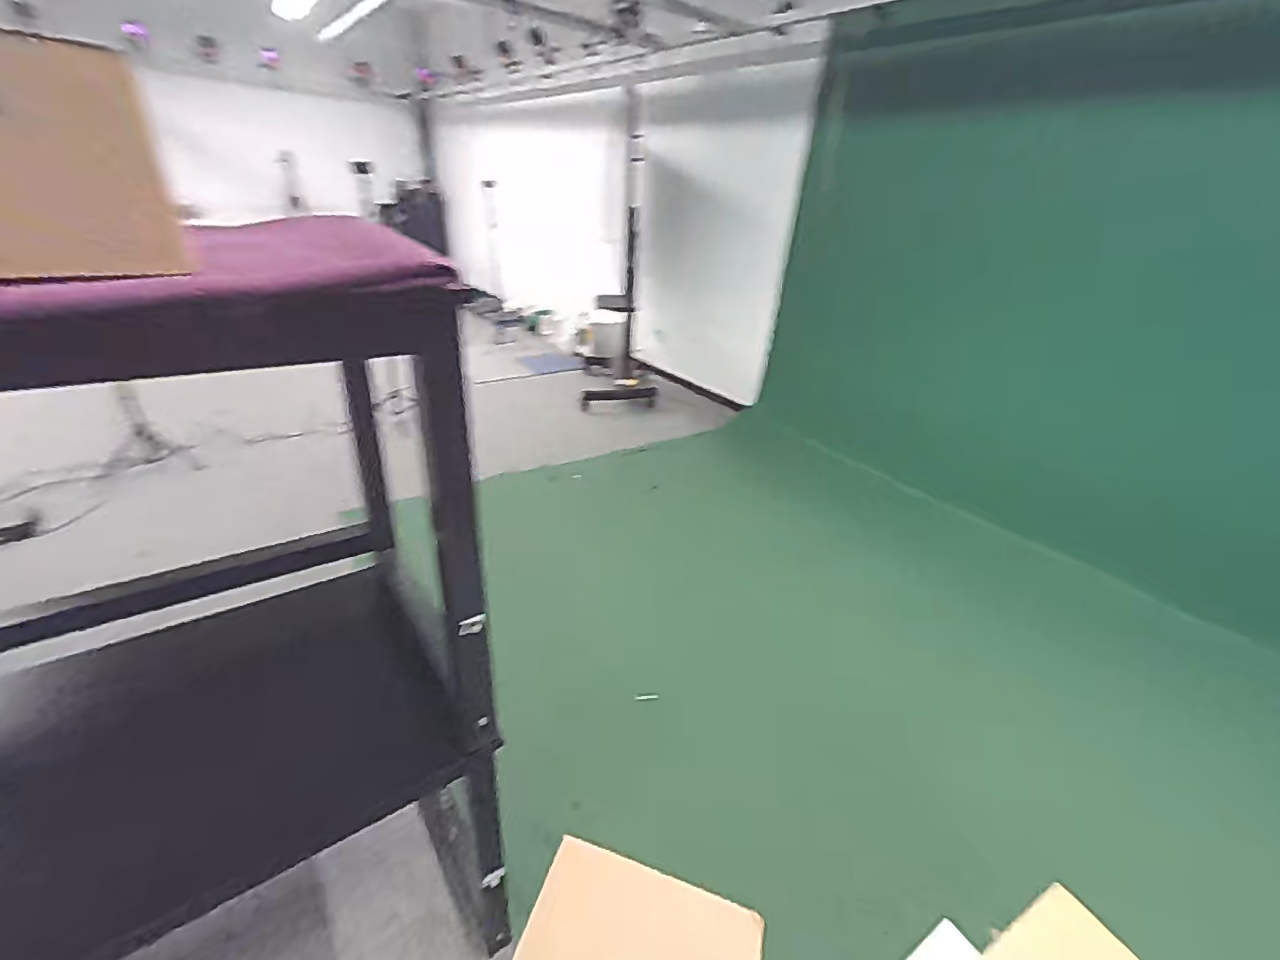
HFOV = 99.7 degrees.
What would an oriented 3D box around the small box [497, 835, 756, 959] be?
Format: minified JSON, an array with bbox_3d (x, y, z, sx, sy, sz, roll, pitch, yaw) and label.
[{"bbox_3d":[-0.024,0.421,0.407,0.179,0.176,0.168,14,31,11],"label":"small box"}]

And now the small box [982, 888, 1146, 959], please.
[{"bbox_3d":[0.429,0.566,0.529,0.168,0.176,0.179,-11,32,-27],"label":"small box"}]

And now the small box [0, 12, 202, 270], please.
[{"bbox_3d":[-0.510,-0.276,0.462,0.179,0.176,0.168,-16,32,-33],"label":"small box"}]
